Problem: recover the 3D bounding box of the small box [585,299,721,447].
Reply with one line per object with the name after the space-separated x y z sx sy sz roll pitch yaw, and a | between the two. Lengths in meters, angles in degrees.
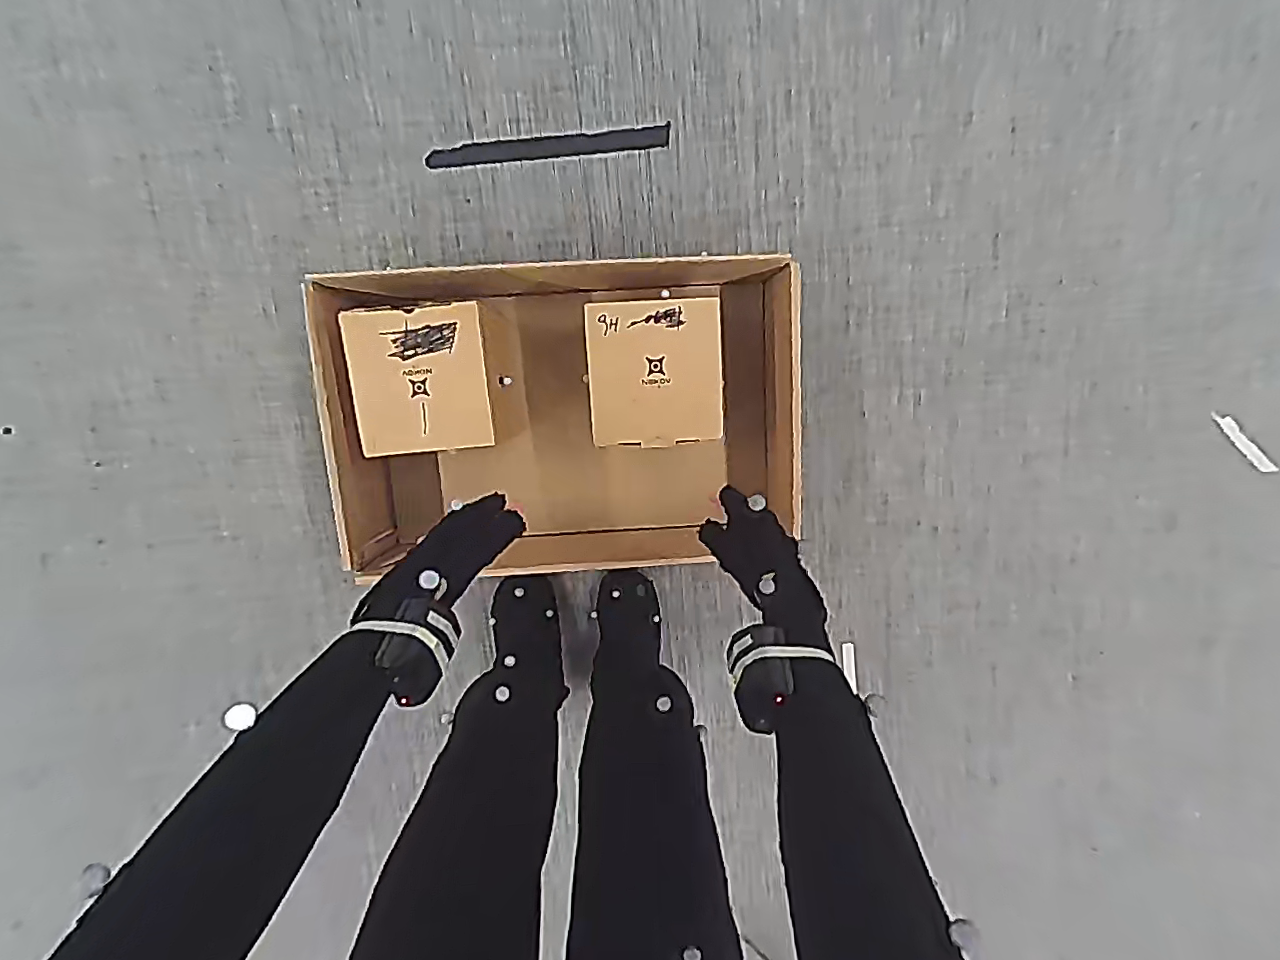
0.016 -0.146 0.740 0.168 0.176 0.179 -3 101 -2 | small box
